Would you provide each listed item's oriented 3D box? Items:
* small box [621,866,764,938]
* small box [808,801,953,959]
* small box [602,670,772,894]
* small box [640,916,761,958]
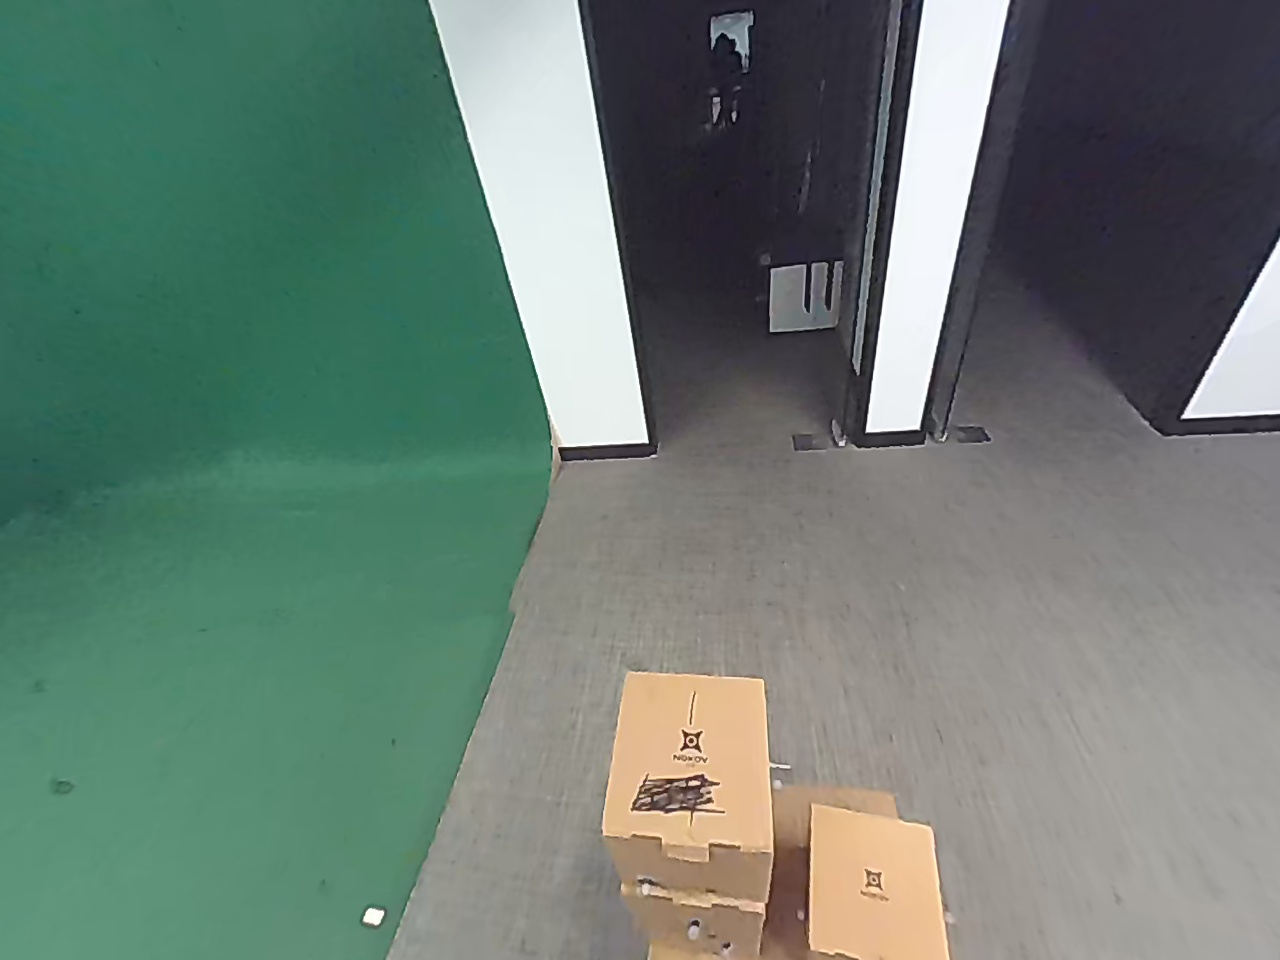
[{"bbox_3d":[0.078,0.477,0.719,0.168,0.176,0.179,0,40,9],"label":"small box"},{"bbox_3d":[0.329,0.598,0.770,0.168,0.176,0.179,1,39,17],"label":"small box"},{"bbox_3d":[0.062,0.345,0.621,0.168,0.176,0.179,-1,38,9],"label":"small box"},{"bbox_3d":[0.102,0.596,0.829,0.168,0.176,0.179,1,39,11],"label":"small box"}]
